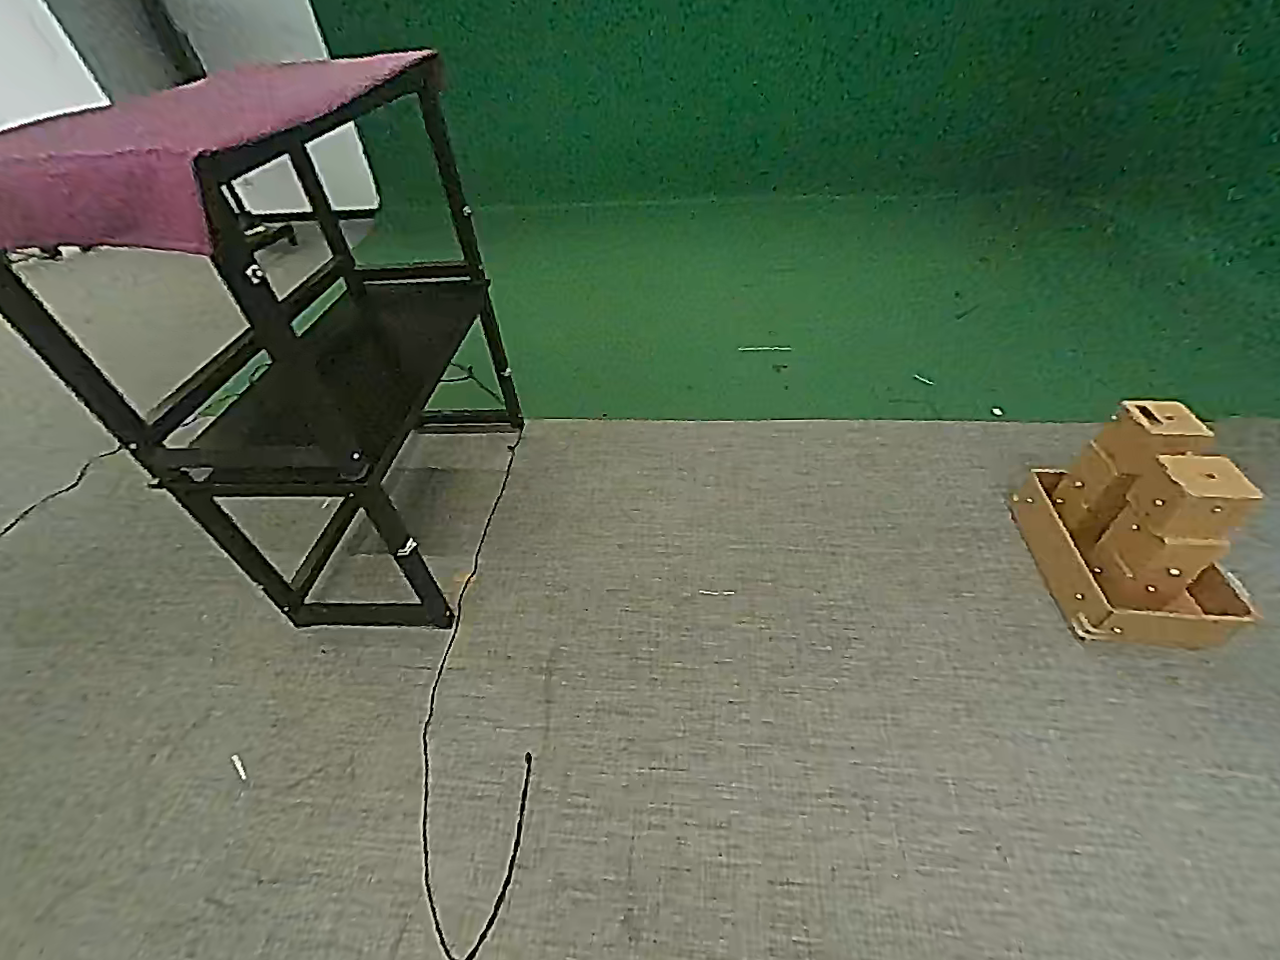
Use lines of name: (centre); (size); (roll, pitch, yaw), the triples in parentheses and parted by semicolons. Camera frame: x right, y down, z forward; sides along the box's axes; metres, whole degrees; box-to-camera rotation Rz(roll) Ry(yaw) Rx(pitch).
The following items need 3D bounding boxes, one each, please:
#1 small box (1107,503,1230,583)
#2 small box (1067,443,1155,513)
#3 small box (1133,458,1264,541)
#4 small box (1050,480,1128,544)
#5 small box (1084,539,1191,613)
small box: (1.562, 0.187, 1.615); (0.168, 0.176, 0.179); (0, 44, 6)
small box: (1.592, -0.003, 1.812); (0.168, 0.176, 0.179); (2, 45, 6)
small box: (1.546, 0.057, 1.518); (0.179, 0.176, 0.168); (3, 44, 9)
small box: (1.607, 0.116, 1.927); (0.179, 0.176, 0.168); (1, 45, 7)
small box: (1.573, 0.308, 1.728); (0.179, 0.176, 0.168); (3, 44, 8)
